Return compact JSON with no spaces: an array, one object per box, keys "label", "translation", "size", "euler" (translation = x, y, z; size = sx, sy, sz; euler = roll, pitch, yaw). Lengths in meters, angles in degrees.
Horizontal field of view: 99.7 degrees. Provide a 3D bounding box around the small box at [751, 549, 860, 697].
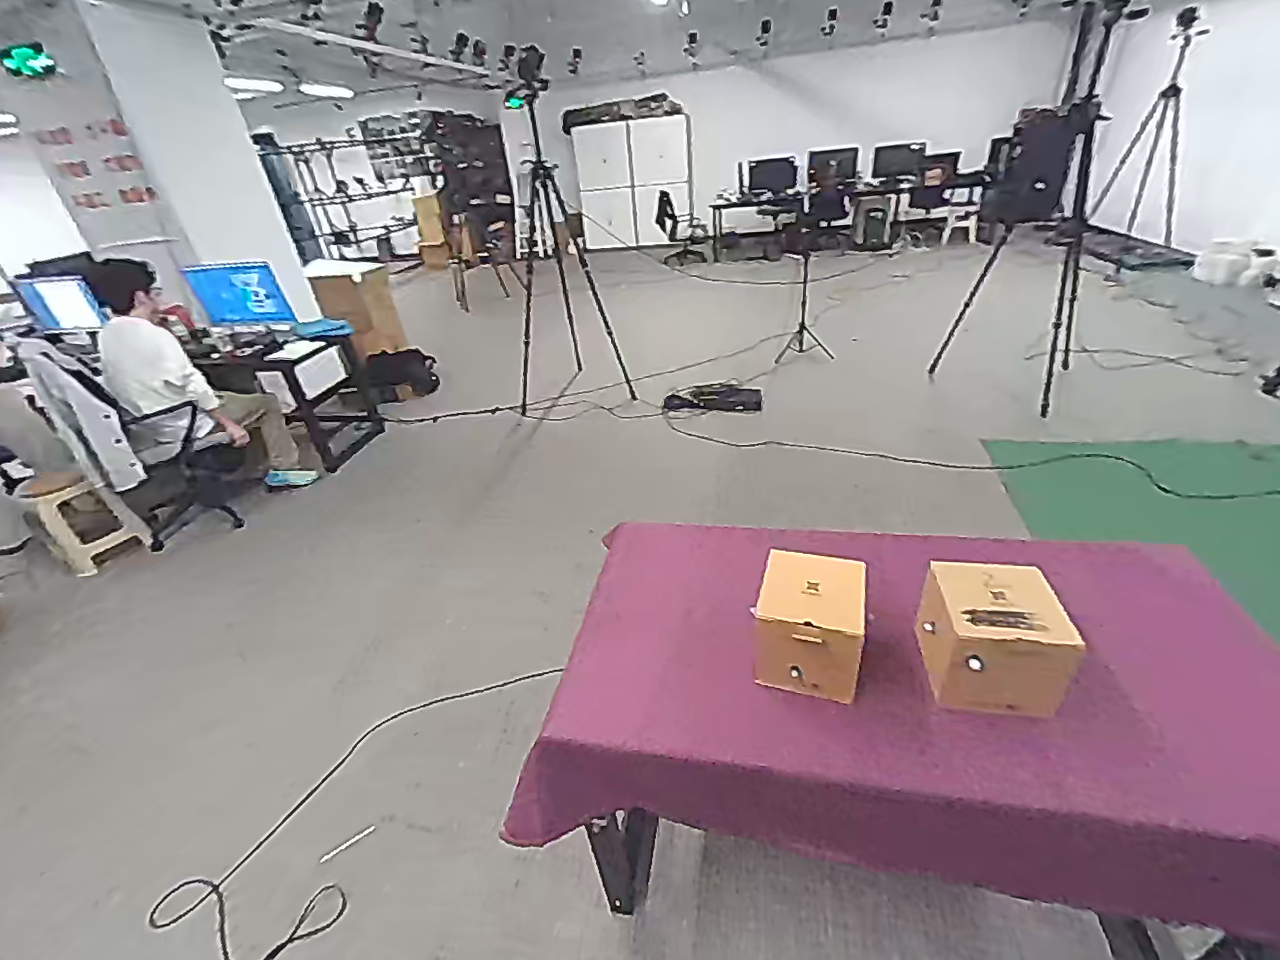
[{"label":"small box","translation":[0.295,0.252,0.969],"size":[0.168,0.176,0.179],"euler":[6,35,19]}]
